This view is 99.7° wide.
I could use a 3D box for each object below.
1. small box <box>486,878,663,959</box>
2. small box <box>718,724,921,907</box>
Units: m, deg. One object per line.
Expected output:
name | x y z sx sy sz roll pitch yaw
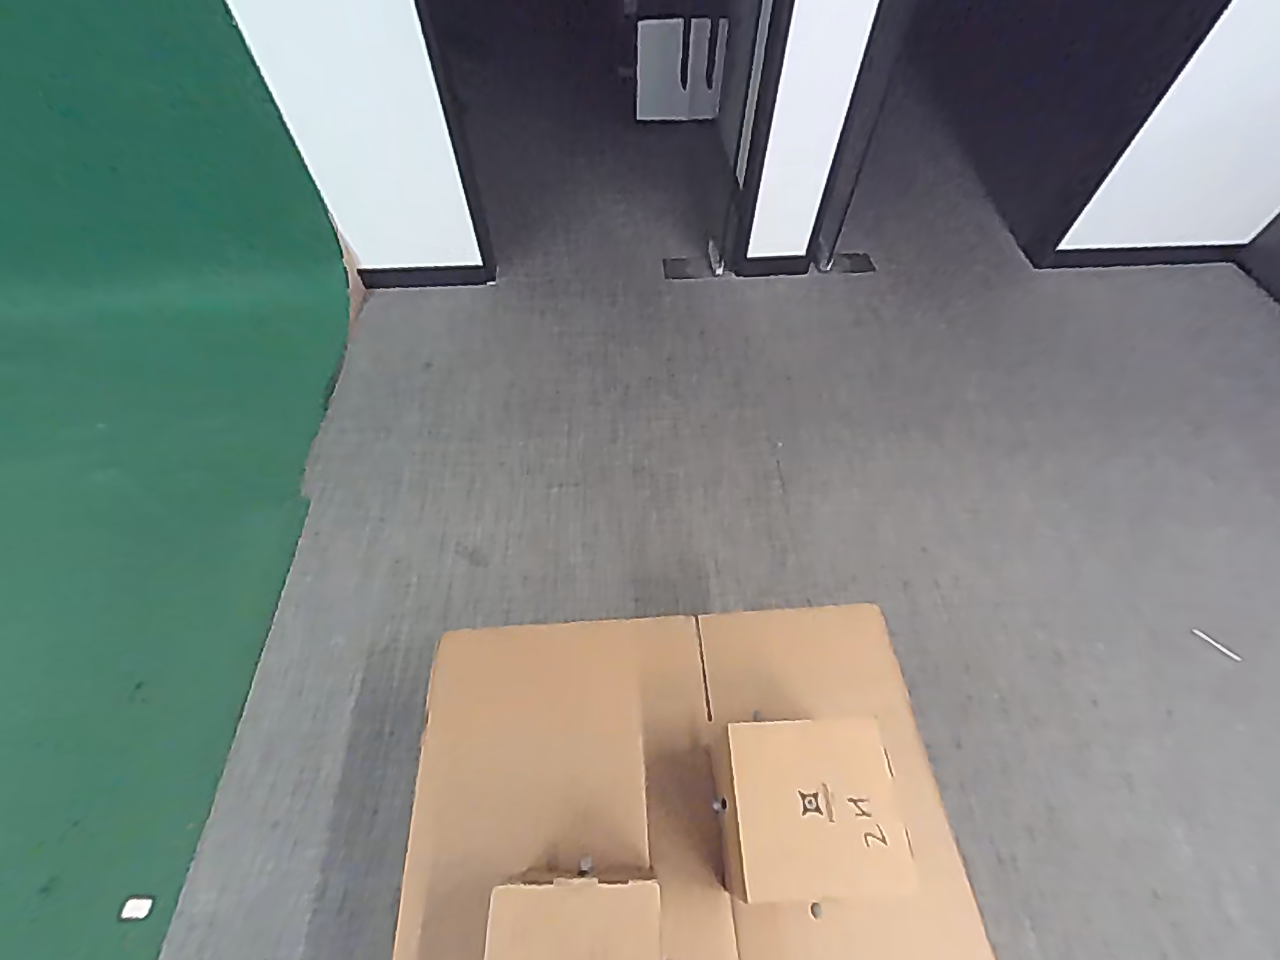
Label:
small box | -0.061 0.510 0.545 0.168 0.176 0.179 -1 55 0
small box | 0.186 0.389 0.630 0.179 0.176 0.168 -2 56 1
